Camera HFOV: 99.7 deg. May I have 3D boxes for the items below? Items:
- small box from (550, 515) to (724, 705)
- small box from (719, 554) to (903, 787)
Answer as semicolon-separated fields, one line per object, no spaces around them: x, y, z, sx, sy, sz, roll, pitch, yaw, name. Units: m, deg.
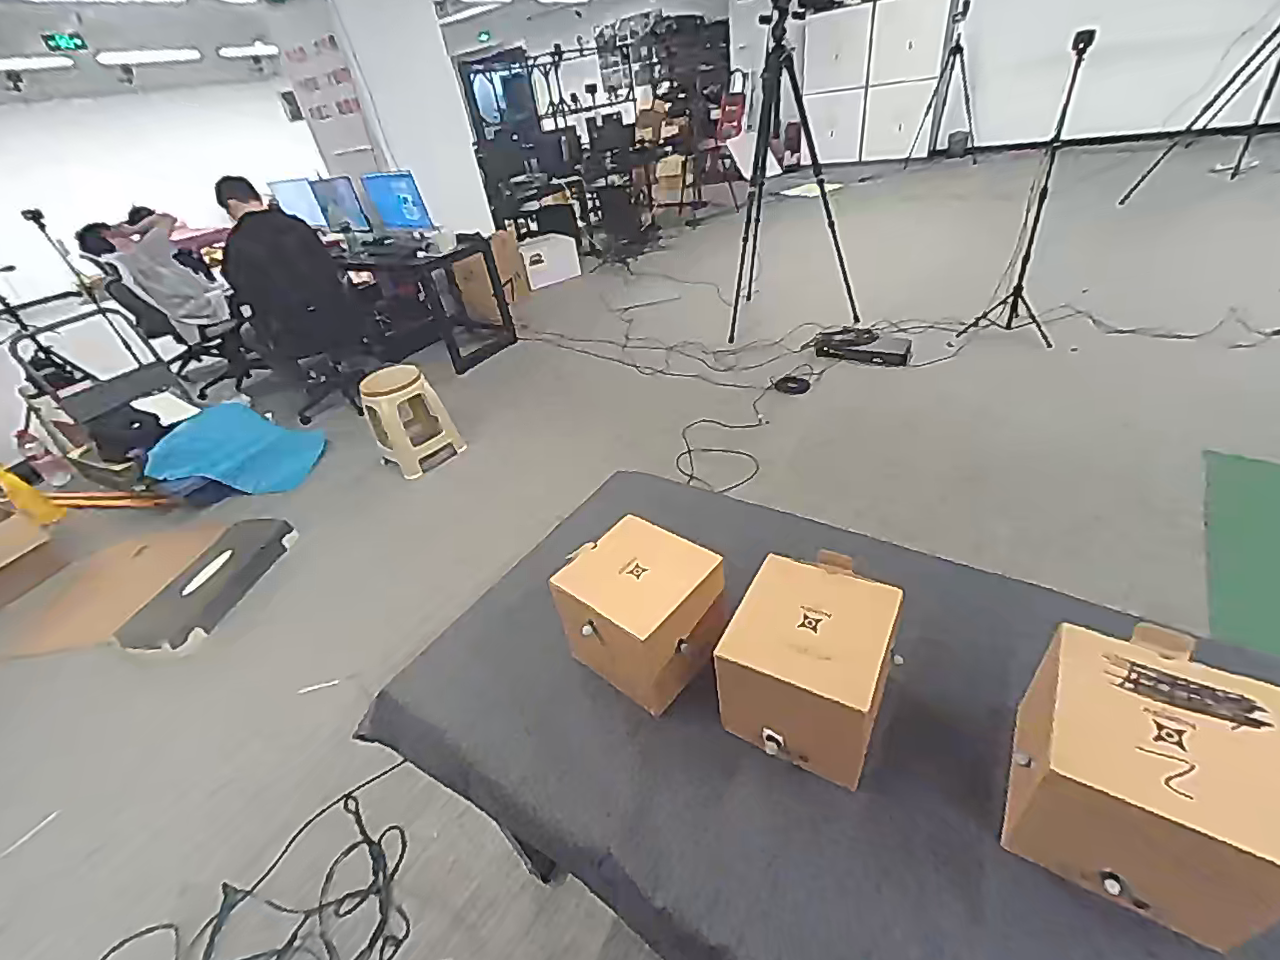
0.006;0.183;0.763;0.179;0.176;0.168;22;46;37;small box
0.207;0.225;0.659;0.168;0.176;0.179;12;41;29;small box
